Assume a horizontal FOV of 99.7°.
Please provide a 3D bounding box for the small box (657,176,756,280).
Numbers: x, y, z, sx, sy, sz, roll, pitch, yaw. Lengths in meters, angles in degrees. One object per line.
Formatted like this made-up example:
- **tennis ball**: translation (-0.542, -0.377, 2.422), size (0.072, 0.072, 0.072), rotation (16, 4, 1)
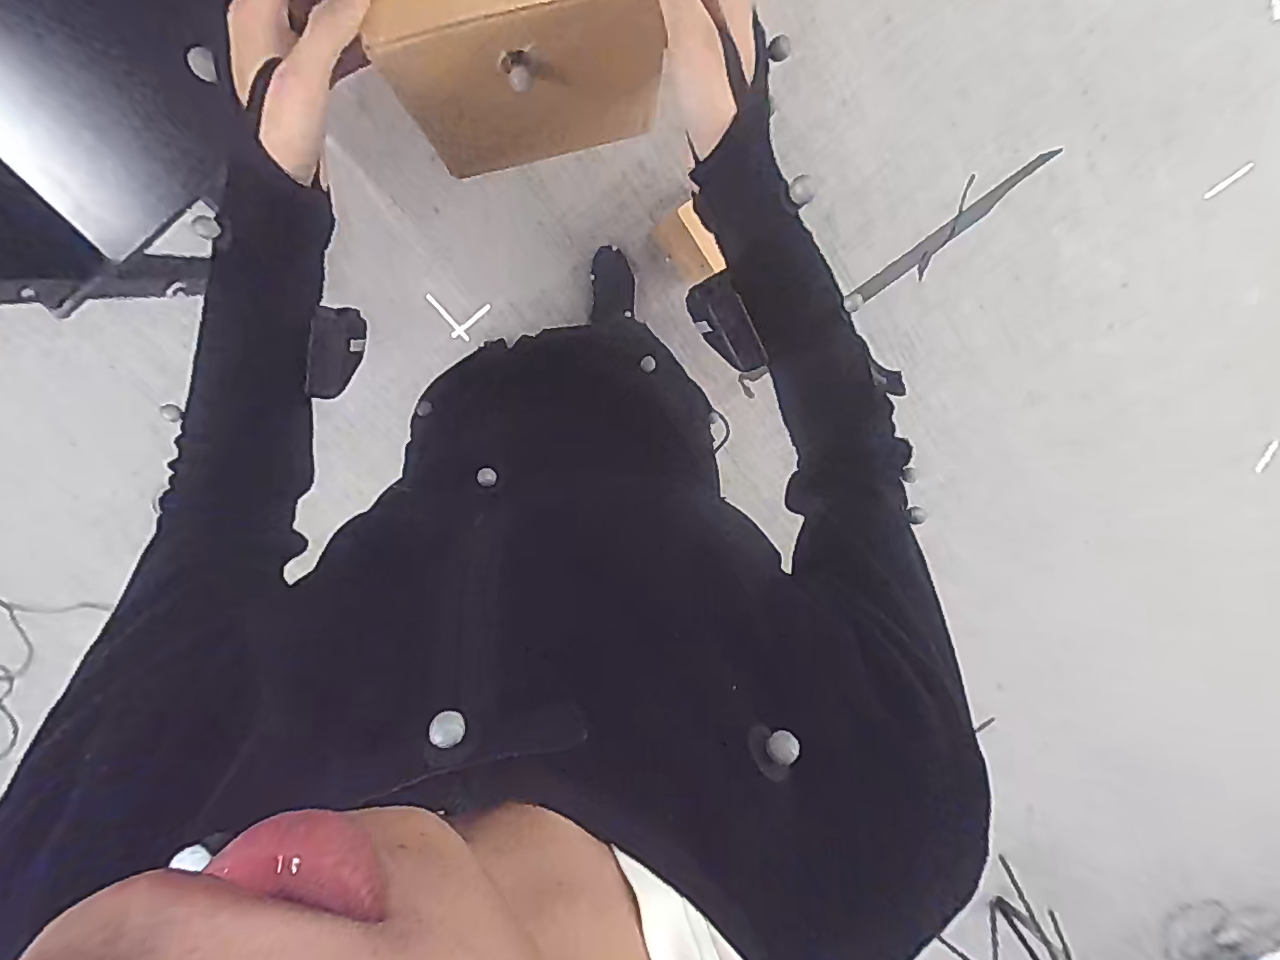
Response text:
- **small box**: translation (0.163, -0.638, 1.385), size (0.179, 0.176, 0.168), rotation (-38, 110, 8)
